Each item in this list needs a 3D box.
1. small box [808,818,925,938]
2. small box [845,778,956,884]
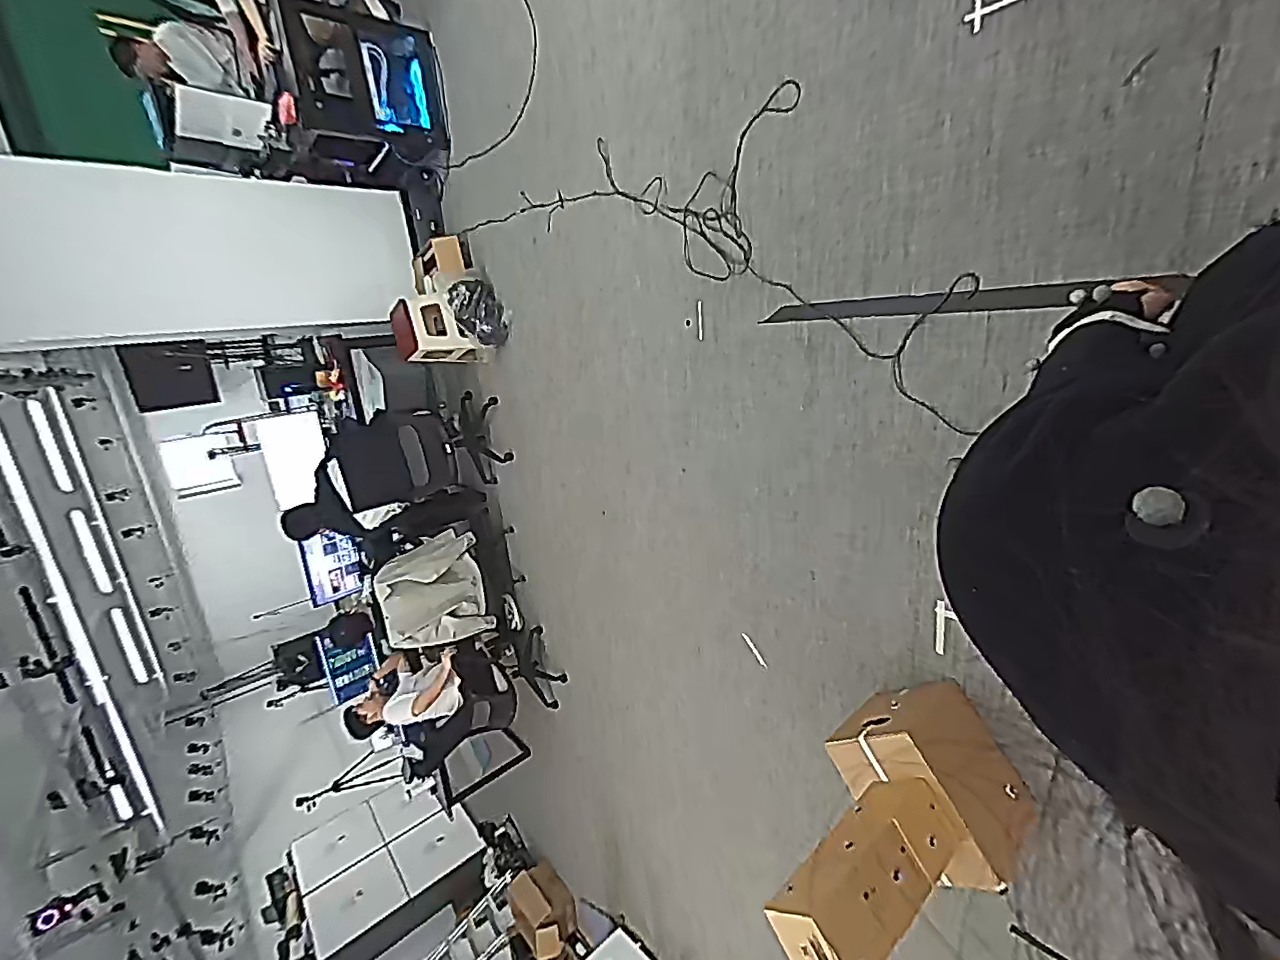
[{"bbox_3d":[0.548,0.939,1.295,0.168,0.176,0.179,61,141,15],"label":"small box"},{"bbox_3d":[0.675,0.891,1.388,0.168,0.176,0.179,60,142,15],"label":"small box"}]
